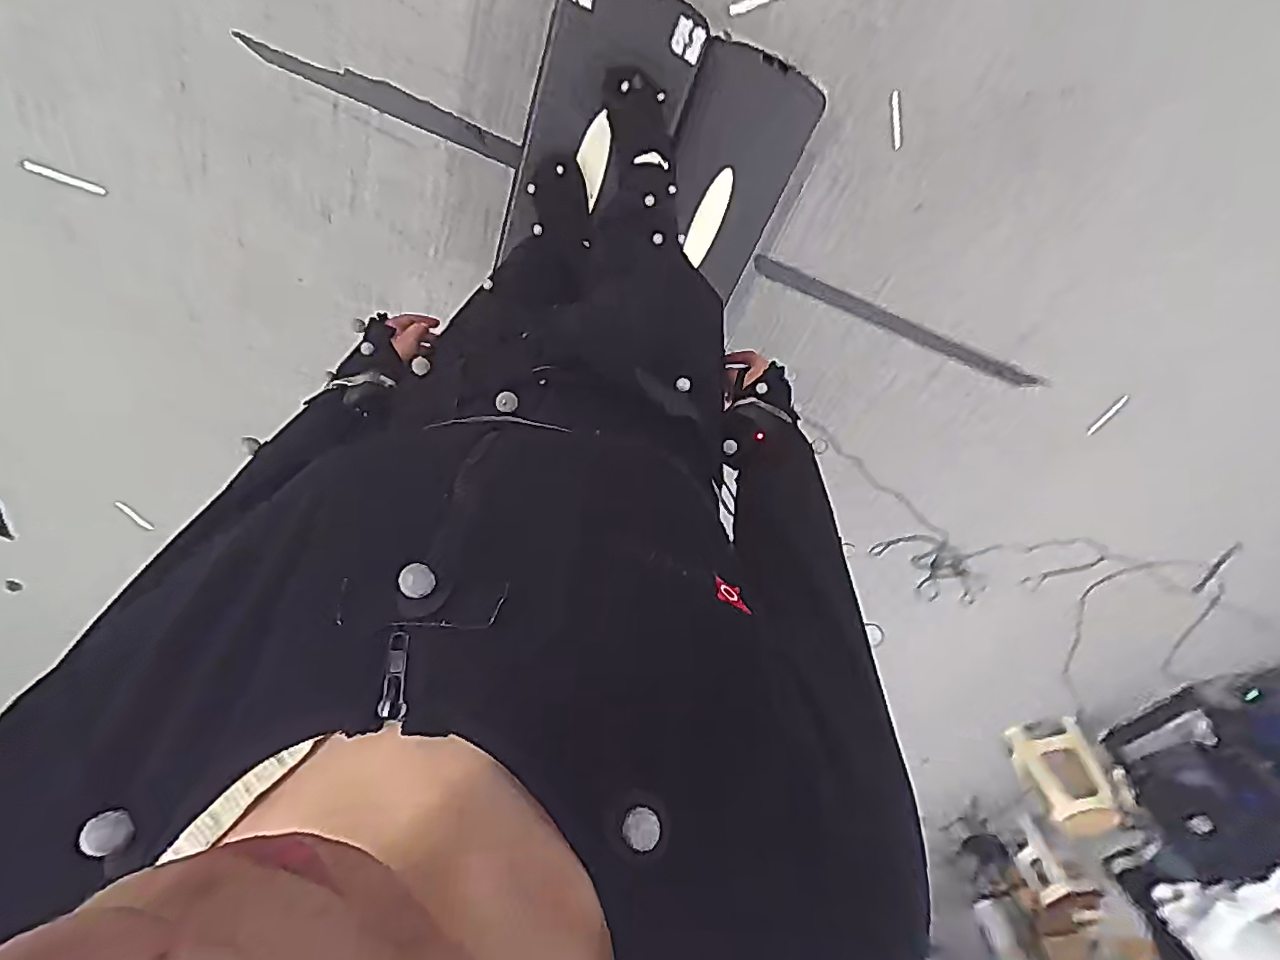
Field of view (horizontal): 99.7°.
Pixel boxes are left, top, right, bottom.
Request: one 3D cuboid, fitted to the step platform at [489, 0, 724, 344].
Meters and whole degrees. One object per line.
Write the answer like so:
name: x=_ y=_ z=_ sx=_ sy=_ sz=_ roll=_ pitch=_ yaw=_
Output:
step platform: x=-0.099 y=-0.648 z=1.174 sx=0.286 sy=0.204 sz=0.684 roll=20 pitch=122 yaw=-17
